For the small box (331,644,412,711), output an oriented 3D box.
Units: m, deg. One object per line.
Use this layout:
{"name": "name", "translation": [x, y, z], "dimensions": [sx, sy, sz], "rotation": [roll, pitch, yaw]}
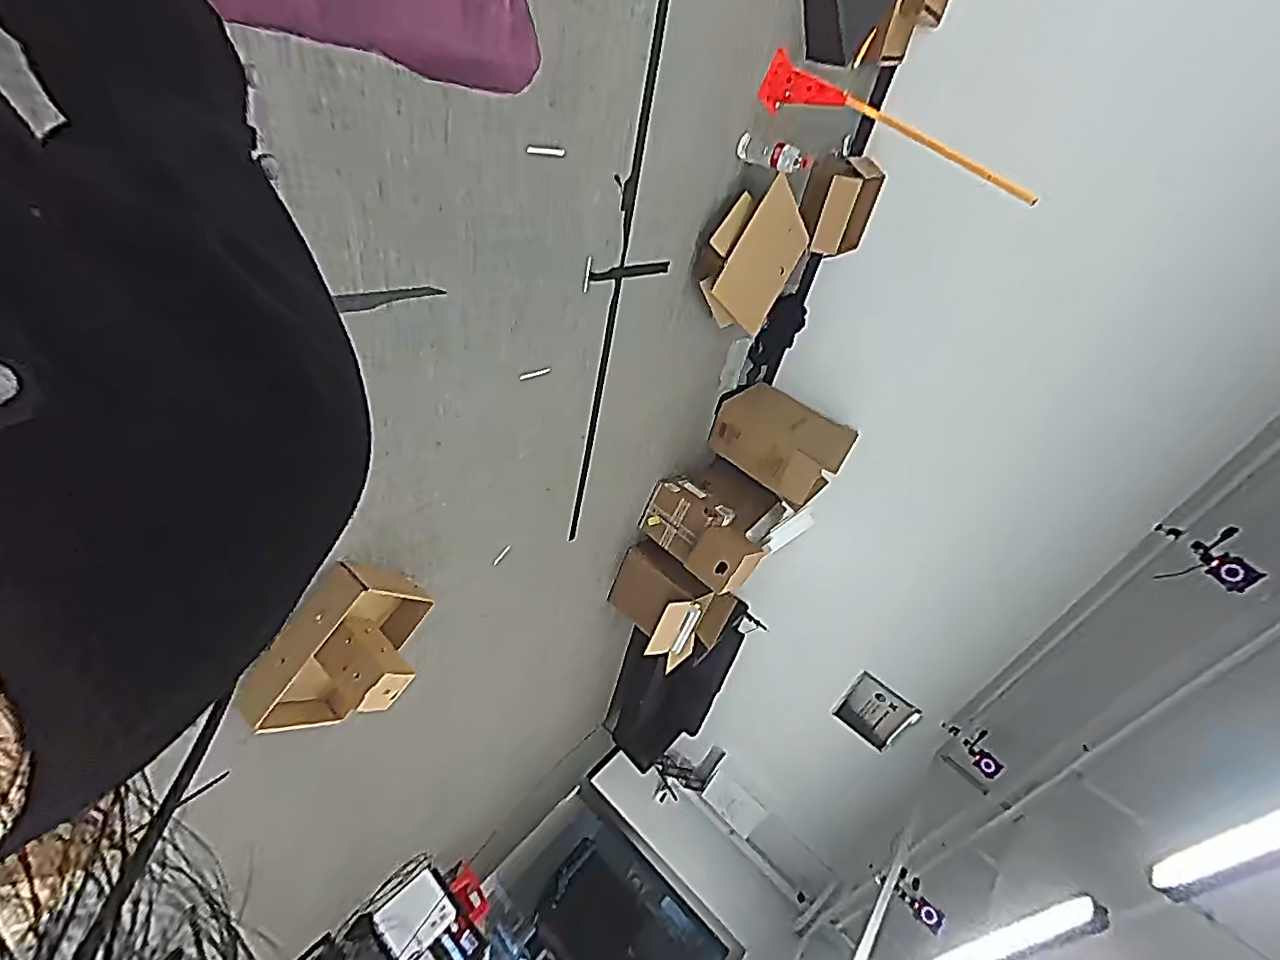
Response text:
{"name": "small box", "translation": [-0.996, 0.730, 2.000], "dimensions": [0.168, 0.176, 0.179], "rotation": [-50, 155, -8]}
